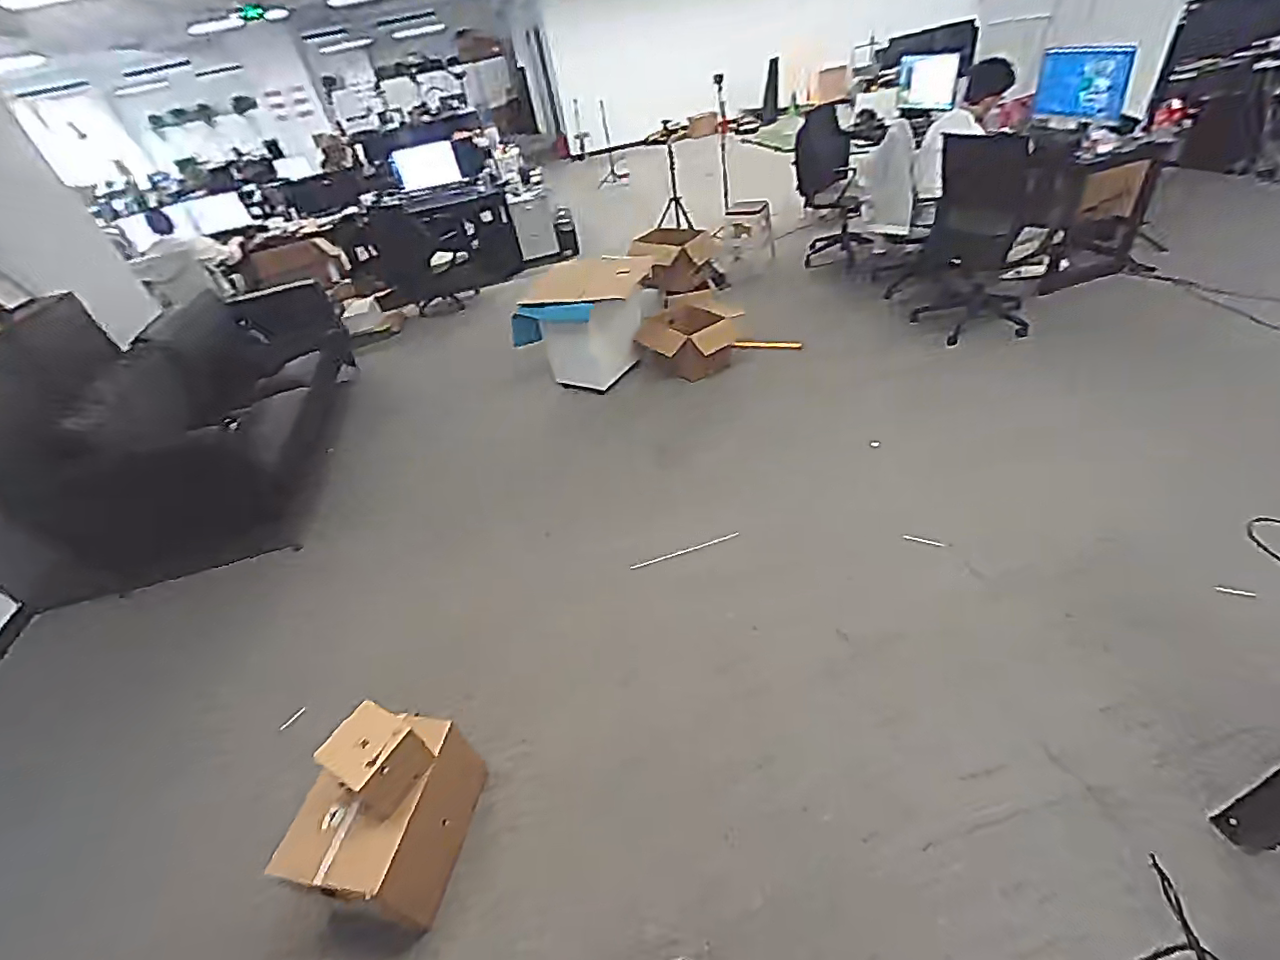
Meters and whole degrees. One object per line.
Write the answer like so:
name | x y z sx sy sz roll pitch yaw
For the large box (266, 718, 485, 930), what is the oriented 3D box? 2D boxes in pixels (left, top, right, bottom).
large box | -0.671 0.909 1.461 0.320 0.320 0.408 -1 40 13

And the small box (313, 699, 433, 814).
small box | -0.653 0.685 1.337 0.179 0.176 0.168 14 45 27
